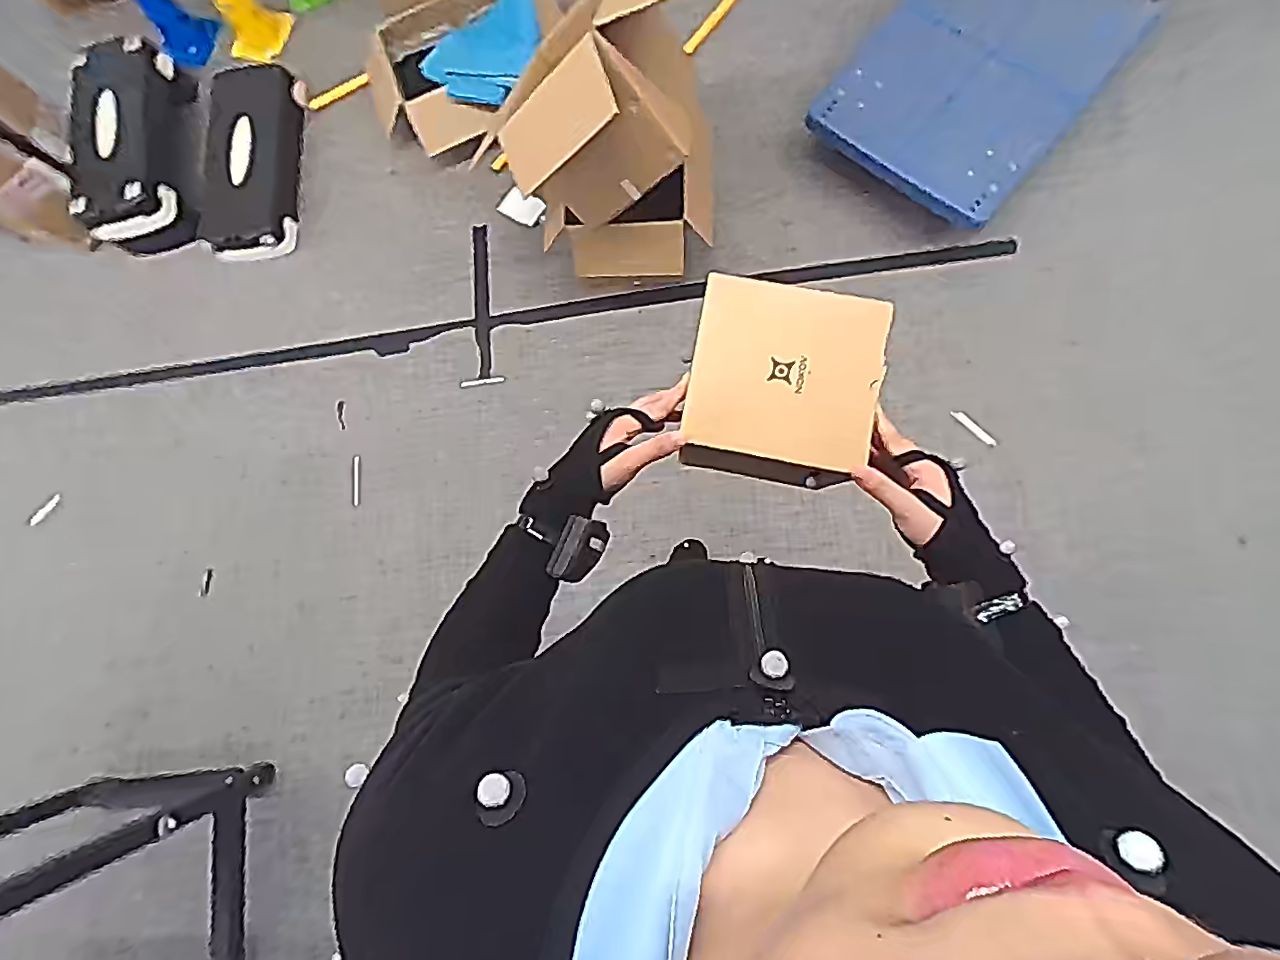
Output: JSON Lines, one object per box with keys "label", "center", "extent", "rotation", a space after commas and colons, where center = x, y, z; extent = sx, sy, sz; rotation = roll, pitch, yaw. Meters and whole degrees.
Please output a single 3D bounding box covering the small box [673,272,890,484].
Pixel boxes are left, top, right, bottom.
{"label": "small box", "center": [0.133, -0.093, 0.574], "extent": [0.179, 0.176, 0.168], "rotation": [11, 85, 3]}
